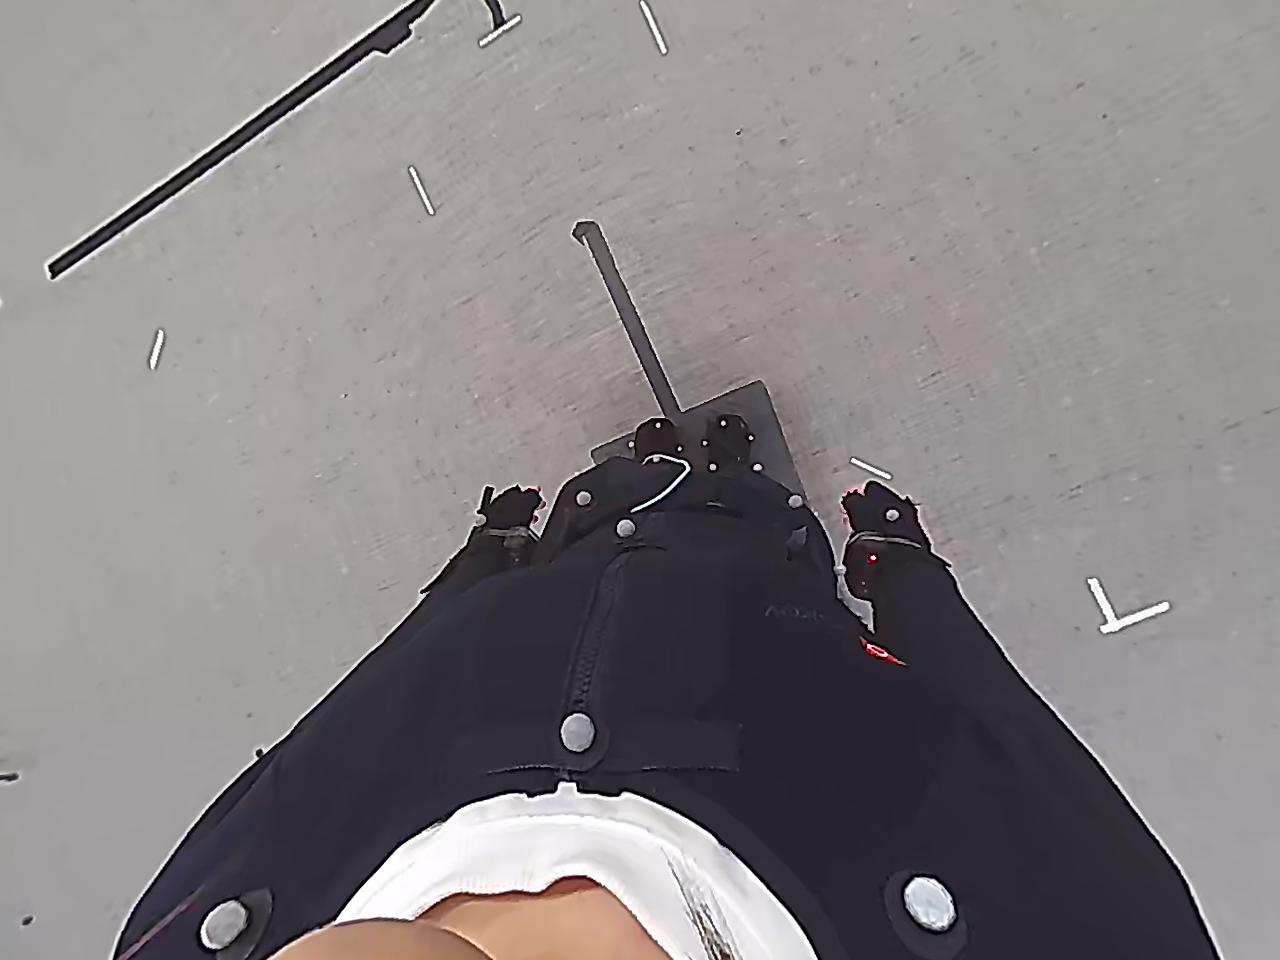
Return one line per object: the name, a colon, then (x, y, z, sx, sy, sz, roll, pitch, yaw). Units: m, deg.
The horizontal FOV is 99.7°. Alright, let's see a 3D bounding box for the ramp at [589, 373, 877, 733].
ramp: (0.283, 0.253, 1.518, 0.509, 0.206, 0.991, -24, 93, 10)
